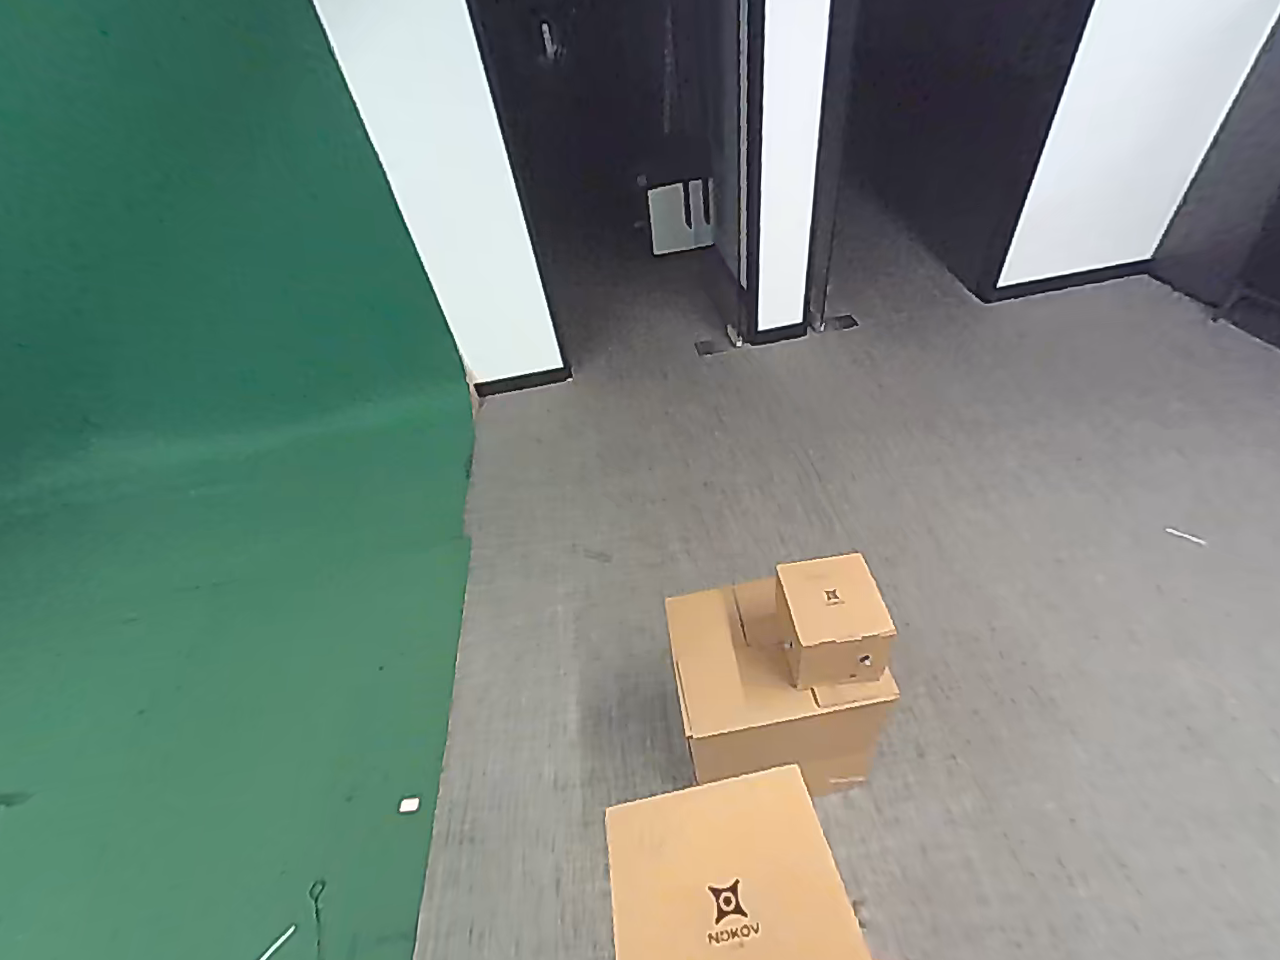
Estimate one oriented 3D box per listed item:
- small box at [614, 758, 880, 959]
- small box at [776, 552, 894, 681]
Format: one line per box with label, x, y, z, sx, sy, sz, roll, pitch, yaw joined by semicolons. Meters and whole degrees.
small box;0.081;0.361;0.424;0.168;0.176;0.179;-14;33;-1
small box;0.361;0.267;1.033;0.168;0.176;0.179;-9;43;3
